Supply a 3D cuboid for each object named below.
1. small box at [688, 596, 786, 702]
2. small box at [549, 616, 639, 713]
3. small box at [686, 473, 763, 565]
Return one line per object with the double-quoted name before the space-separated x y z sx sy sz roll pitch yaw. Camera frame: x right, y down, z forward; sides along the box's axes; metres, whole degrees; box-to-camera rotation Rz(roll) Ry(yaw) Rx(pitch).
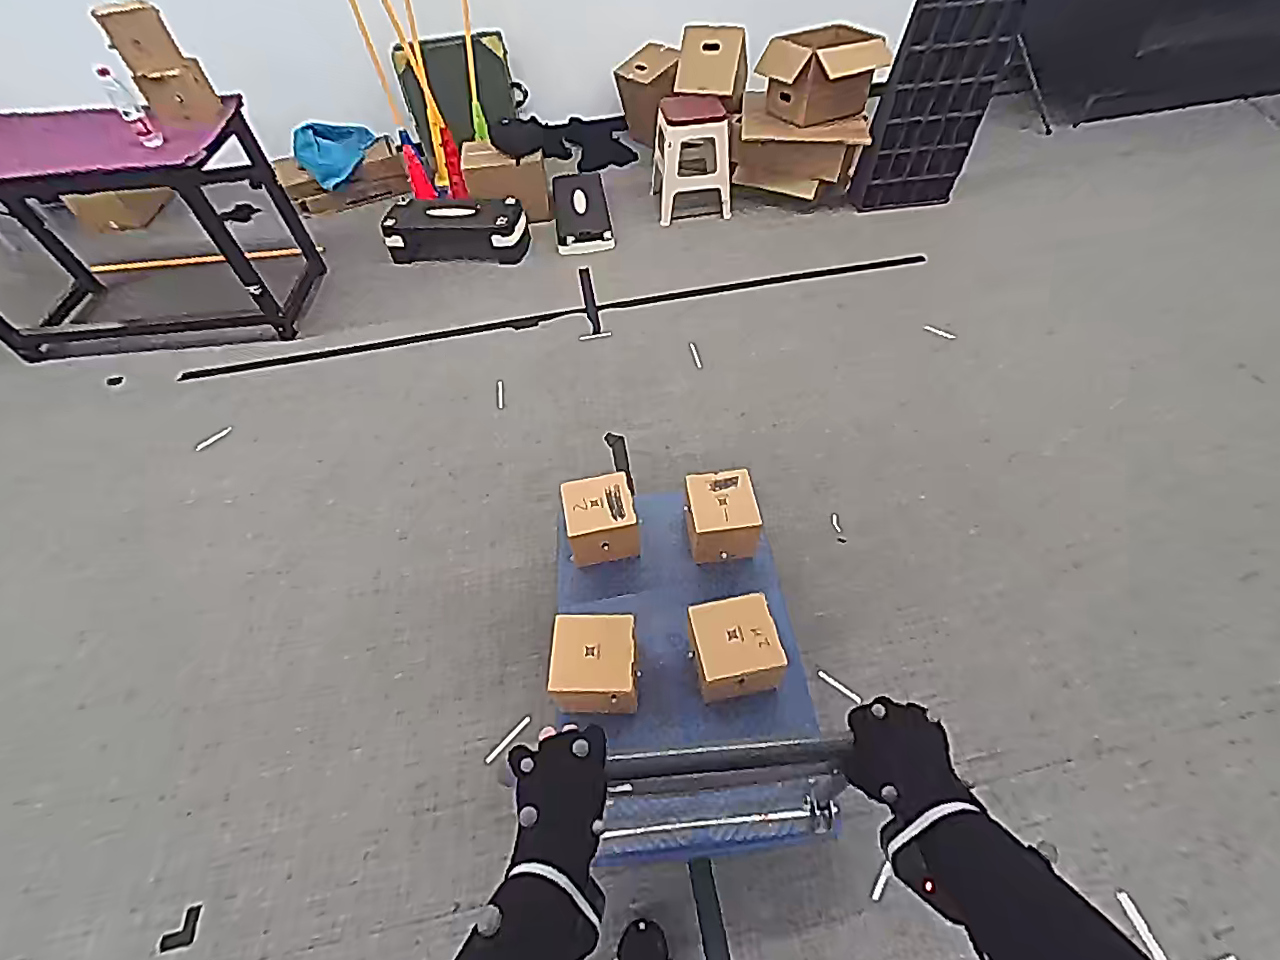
"small box" 0.210 0.384 1.217 0.179 0.176 0.168 -10 53 -4
"small box" -0.095 0.417 1.213 0.179 0.176 0.168 0 53 2
"small box" 0.215 0.104 1.425 0.168 0.176 0.179 -7 54 -1
